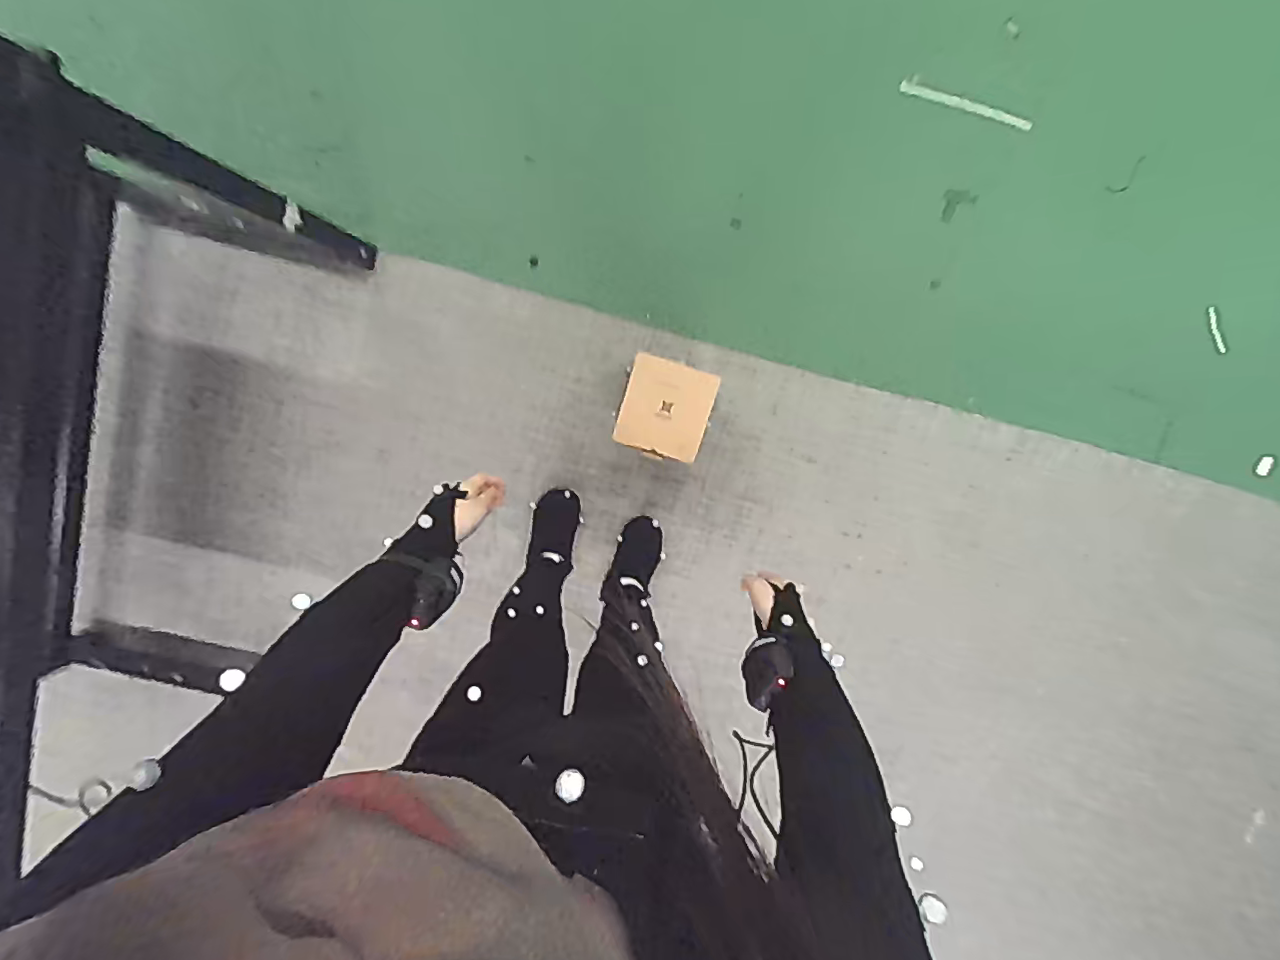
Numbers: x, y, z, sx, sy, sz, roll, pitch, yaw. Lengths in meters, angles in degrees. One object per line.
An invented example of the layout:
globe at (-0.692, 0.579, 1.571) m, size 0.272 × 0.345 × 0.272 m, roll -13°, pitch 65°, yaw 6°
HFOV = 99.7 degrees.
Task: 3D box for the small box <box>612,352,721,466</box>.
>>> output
small box at (0.049, -0.143, 1.079) m, size 0.168 × 0.176 × 0.179 m, roll 16°, pitch 99°, yaw -4°
